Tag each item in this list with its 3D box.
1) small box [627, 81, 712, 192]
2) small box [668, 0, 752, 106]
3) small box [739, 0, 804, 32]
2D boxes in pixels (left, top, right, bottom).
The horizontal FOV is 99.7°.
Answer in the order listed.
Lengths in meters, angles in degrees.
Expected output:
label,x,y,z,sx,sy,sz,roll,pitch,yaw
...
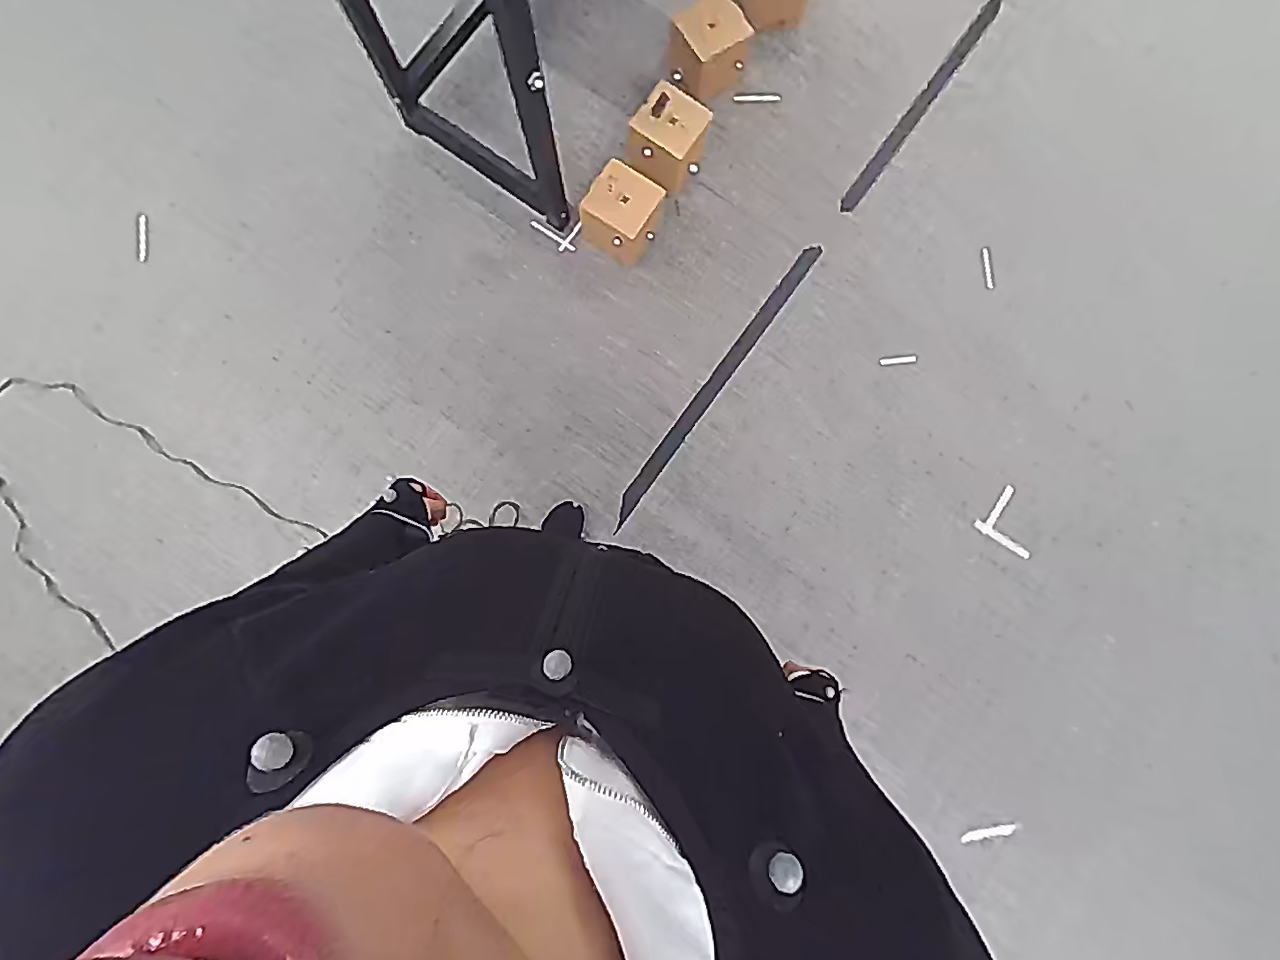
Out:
label,x,y,z,sx,sy,sz,roll,pitch,yaw
small box,0.077,-0.966,1.538,0.179,0.176,0.168,35,86,1
small box,0.194,-1.243,1.566,0.179,0.176,0.168,-34,85,-2
small box,0.388,-1.474,1.586,0.168,0.176,0.179,-11,85,-1
